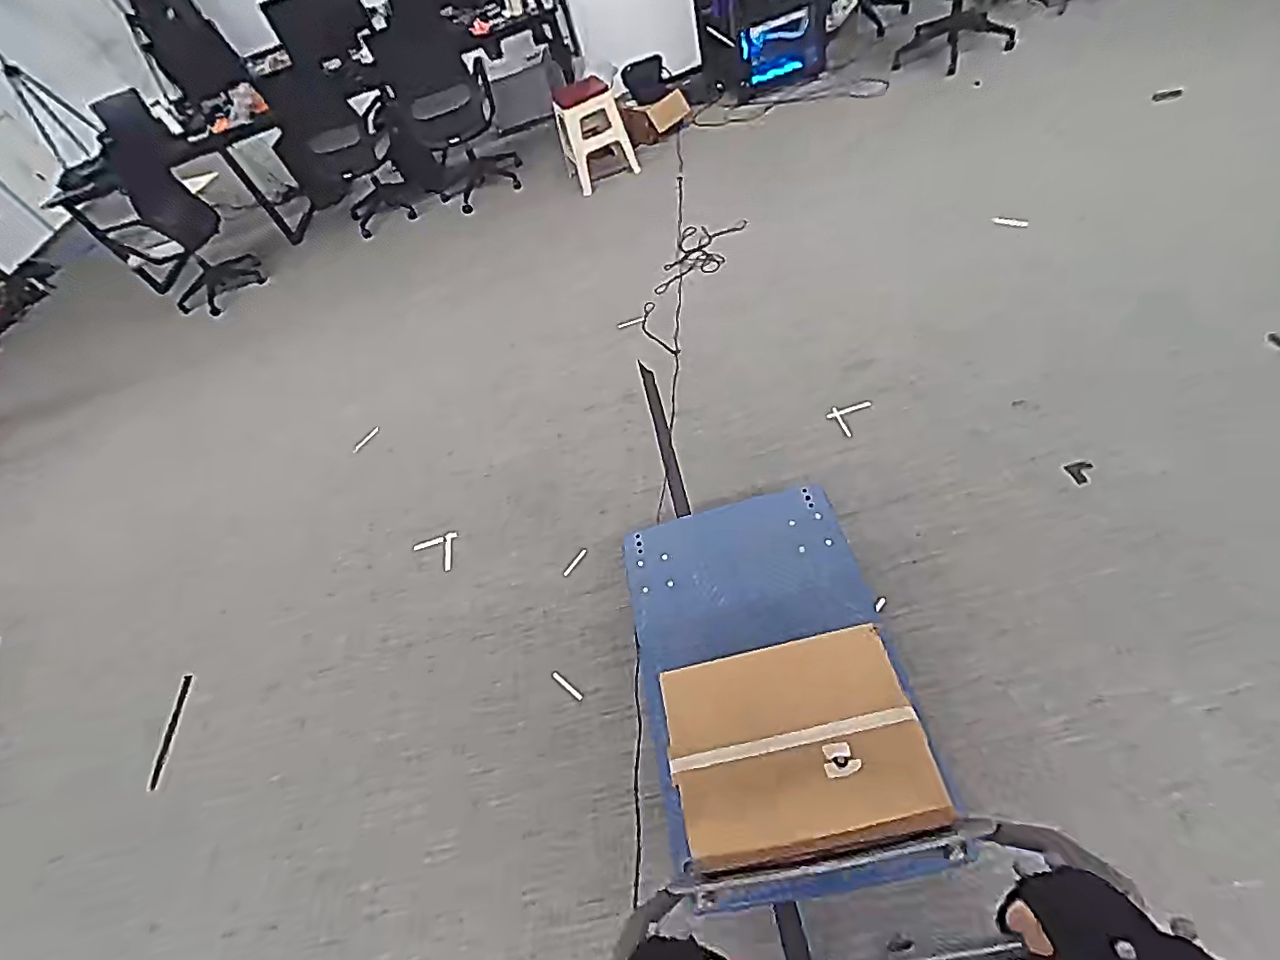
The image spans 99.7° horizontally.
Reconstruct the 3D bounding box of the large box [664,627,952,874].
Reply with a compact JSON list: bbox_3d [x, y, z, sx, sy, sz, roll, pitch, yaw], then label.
[{"bbox_3d":[0.292,0.524,1.037,0.408,0.320,0.320,-16,55,5],"label":"large box"}]
